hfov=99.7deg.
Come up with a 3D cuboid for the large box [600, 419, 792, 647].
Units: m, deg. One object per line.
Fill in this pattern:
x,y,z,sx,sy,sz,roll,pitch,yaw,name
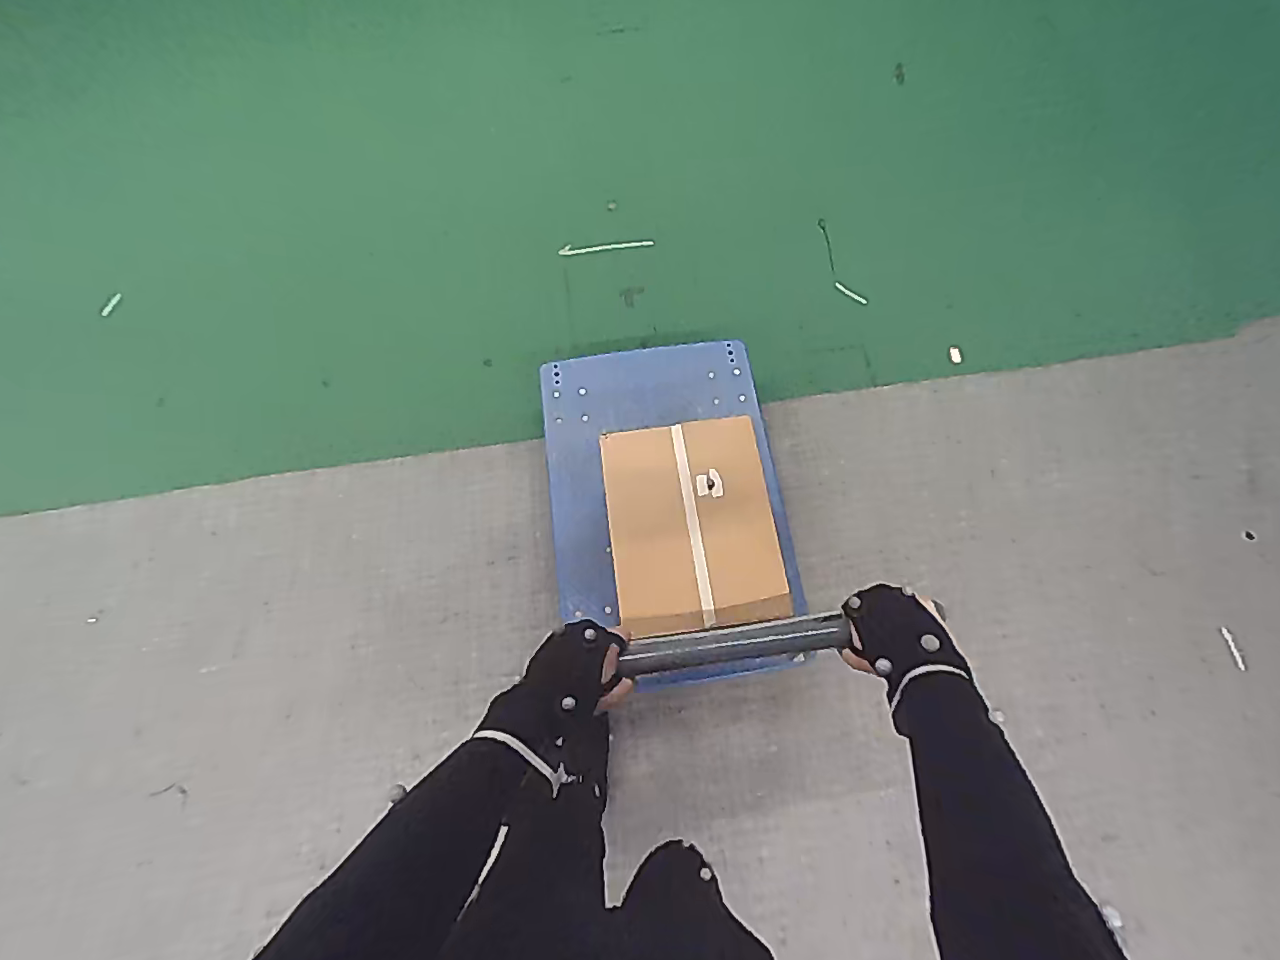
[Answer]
0.101,0.129,1.174,0.320,0.320,0.408,-7,70,-3,large box
